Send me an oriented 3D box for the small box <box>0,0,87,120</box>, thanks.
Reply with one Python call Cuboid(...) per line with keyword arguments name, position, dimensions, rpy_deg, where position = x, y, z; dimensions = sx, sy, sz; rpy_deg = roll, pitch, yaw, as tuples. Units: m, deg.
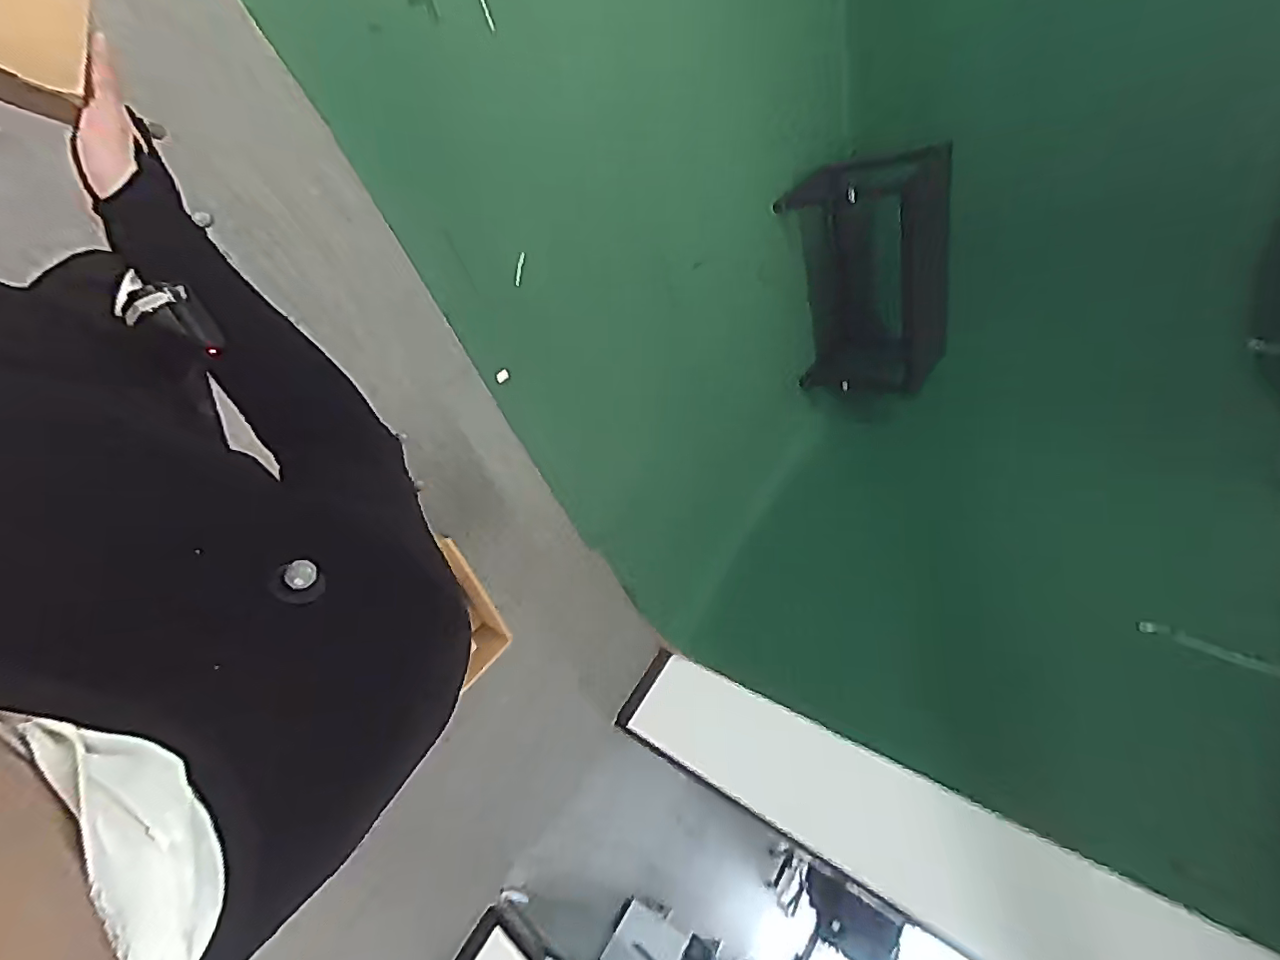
Cuboid(name="small box", position=(-0.491, -0.375, 0.359), dimensions=(0.168, 0.176, 0.179), rpy_deg=(0, 109, -49))
